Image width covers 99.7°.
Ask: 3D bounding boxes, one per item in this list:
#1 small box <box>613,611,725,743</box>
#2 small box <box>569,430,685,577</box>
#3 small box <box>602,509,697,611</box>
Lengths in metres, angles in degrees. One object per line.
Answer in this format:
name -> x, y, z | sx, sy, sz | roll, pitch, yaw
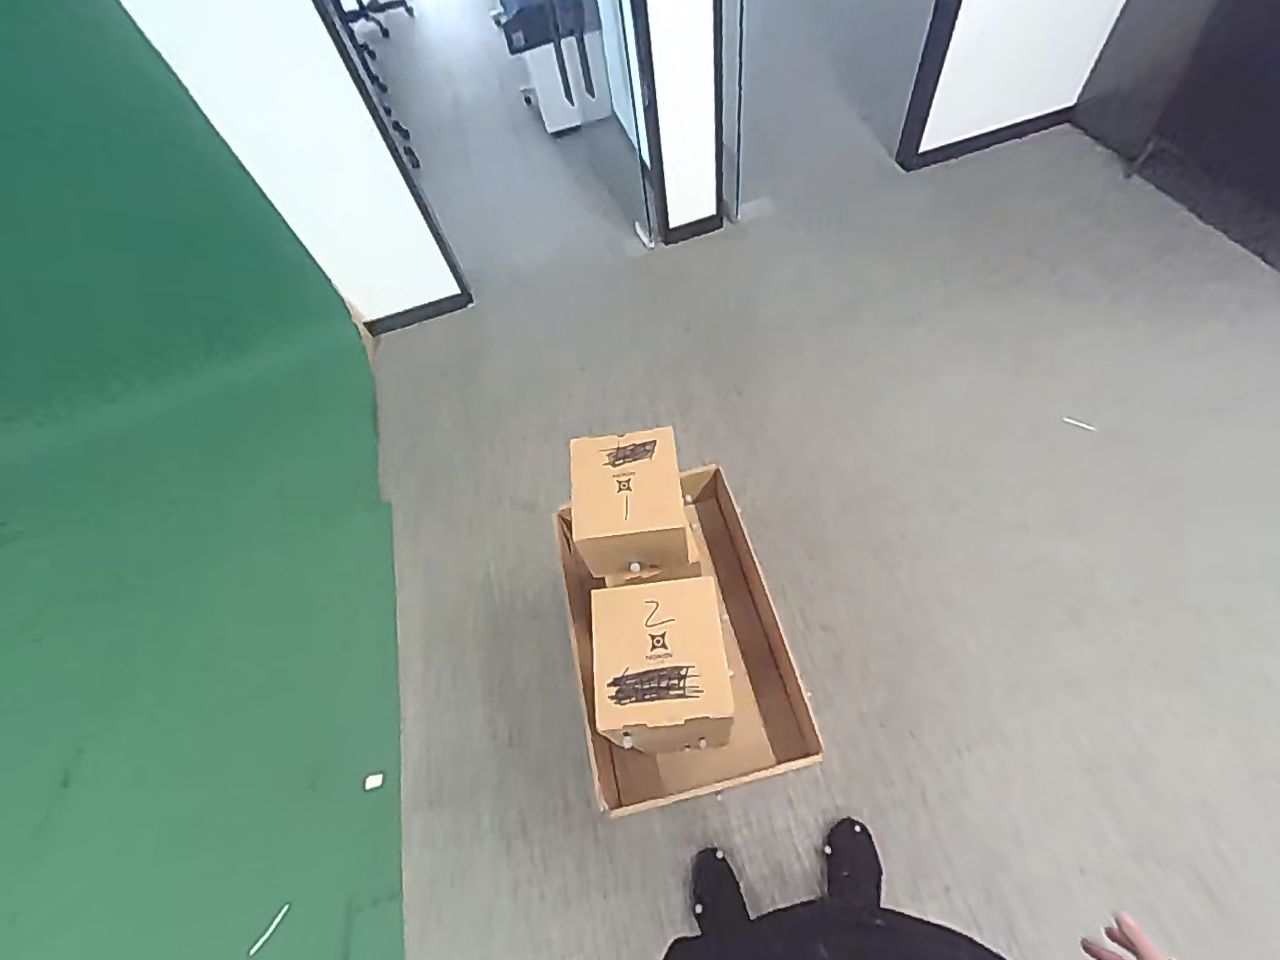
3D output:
small box -> 0.049, 0.330, 0.889 | 0.168, 0.176, 0.179 | -6, 57, 4
small box -> -0.019, 0.043, 0.883 | 0.168, 0.176, 0.179 | -8, 61, 3
small box -> 0.005, 0.126, 1.022 | 0.168, 0.176, 0.179 | -15, 61, -2
